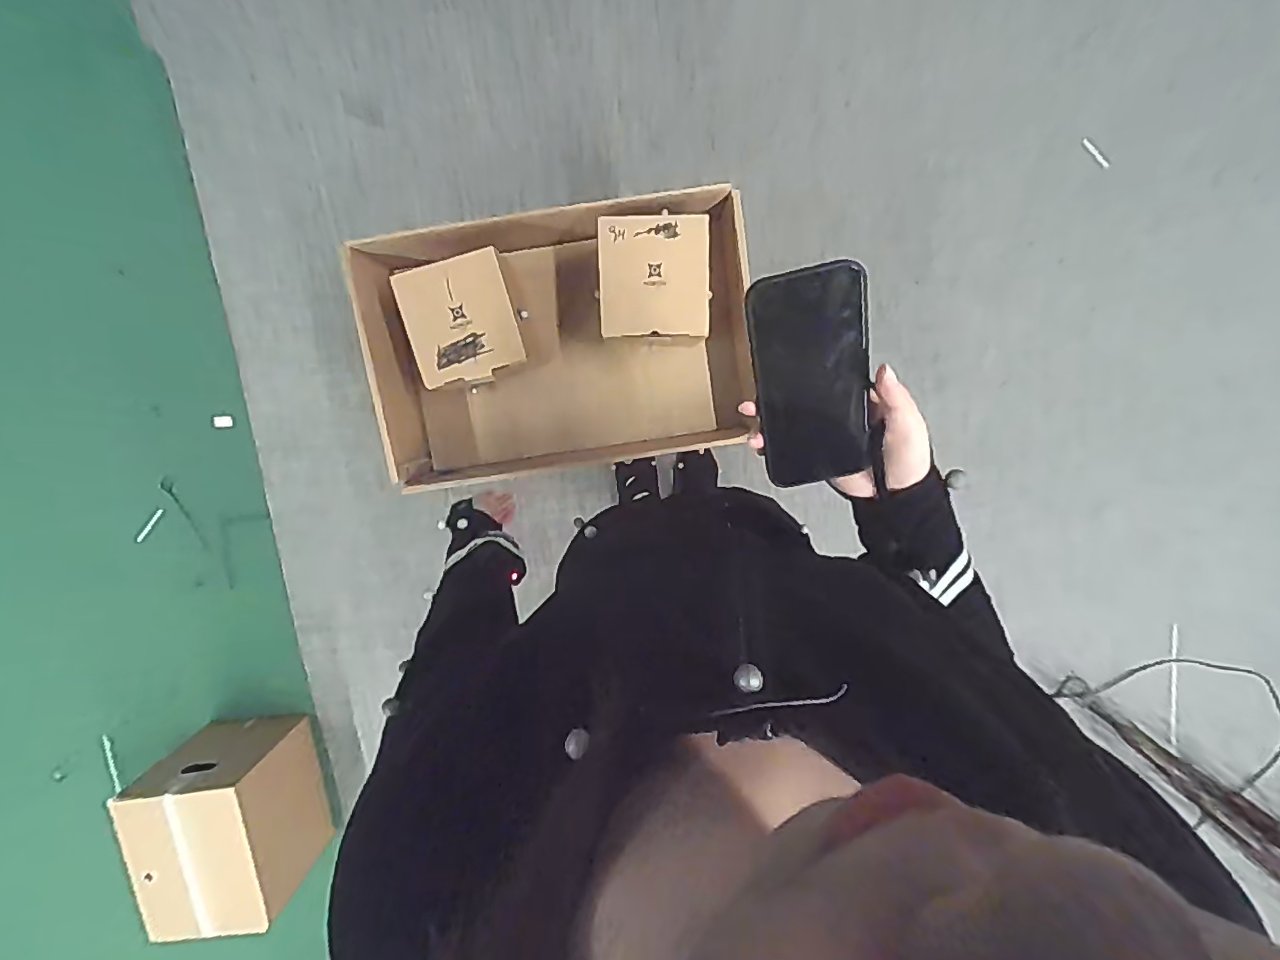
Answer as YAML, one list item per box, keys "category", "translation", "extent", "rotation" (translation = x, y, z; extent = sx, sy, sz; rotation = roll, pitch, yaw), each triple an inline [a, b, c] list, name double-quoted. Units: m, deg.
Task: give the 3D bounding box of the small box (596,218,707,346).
- category: "small box"
  translation: [0.019, -0.311, 0.883]
  extent: [0.168, 0.176, 0.179]
  rotation: [-1, 100, 0]
